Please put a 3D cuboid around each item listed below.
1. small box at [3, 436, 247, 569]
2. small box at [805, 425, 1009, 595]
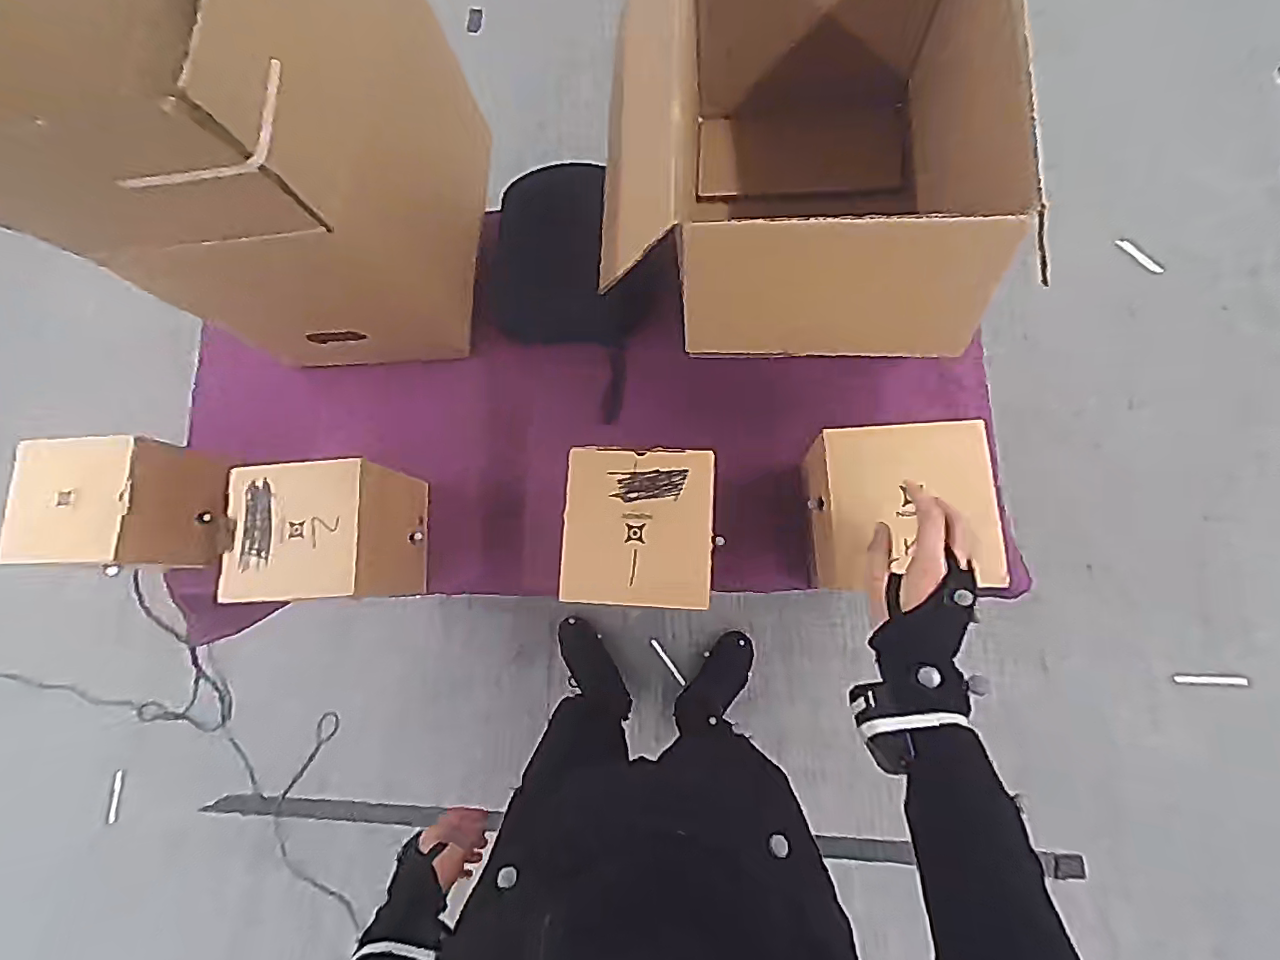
[{"bbox_3d":[-0.719,0.041,0.775,0.179,0.176,0.168,-2,79,6],"label":"small box"},{"bbox_3d":[0.295,0.045,0.640,0.168,0.176,0.179,-3,79,8],"label":"small box"}]
